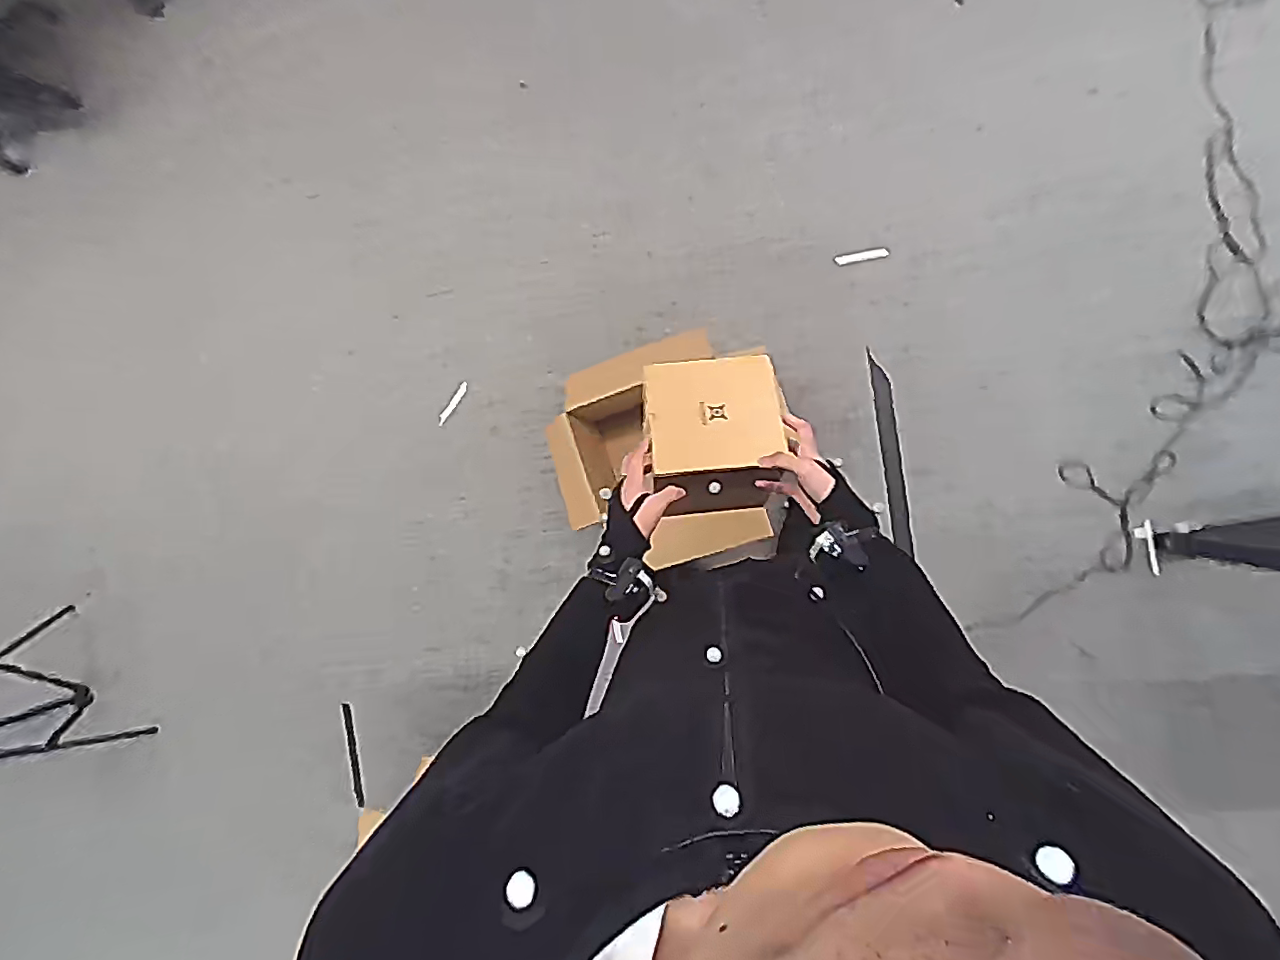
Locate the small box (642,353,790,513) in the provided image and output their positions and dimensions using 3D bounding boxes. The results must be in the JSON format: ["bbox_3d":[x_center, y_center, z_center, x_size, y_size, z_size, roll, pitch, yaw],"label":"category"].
[{"bbox_3d":[0.098,-0.060,0.775,0.179,0.176,0.168,-6,68,0],"label":"small box"}]
